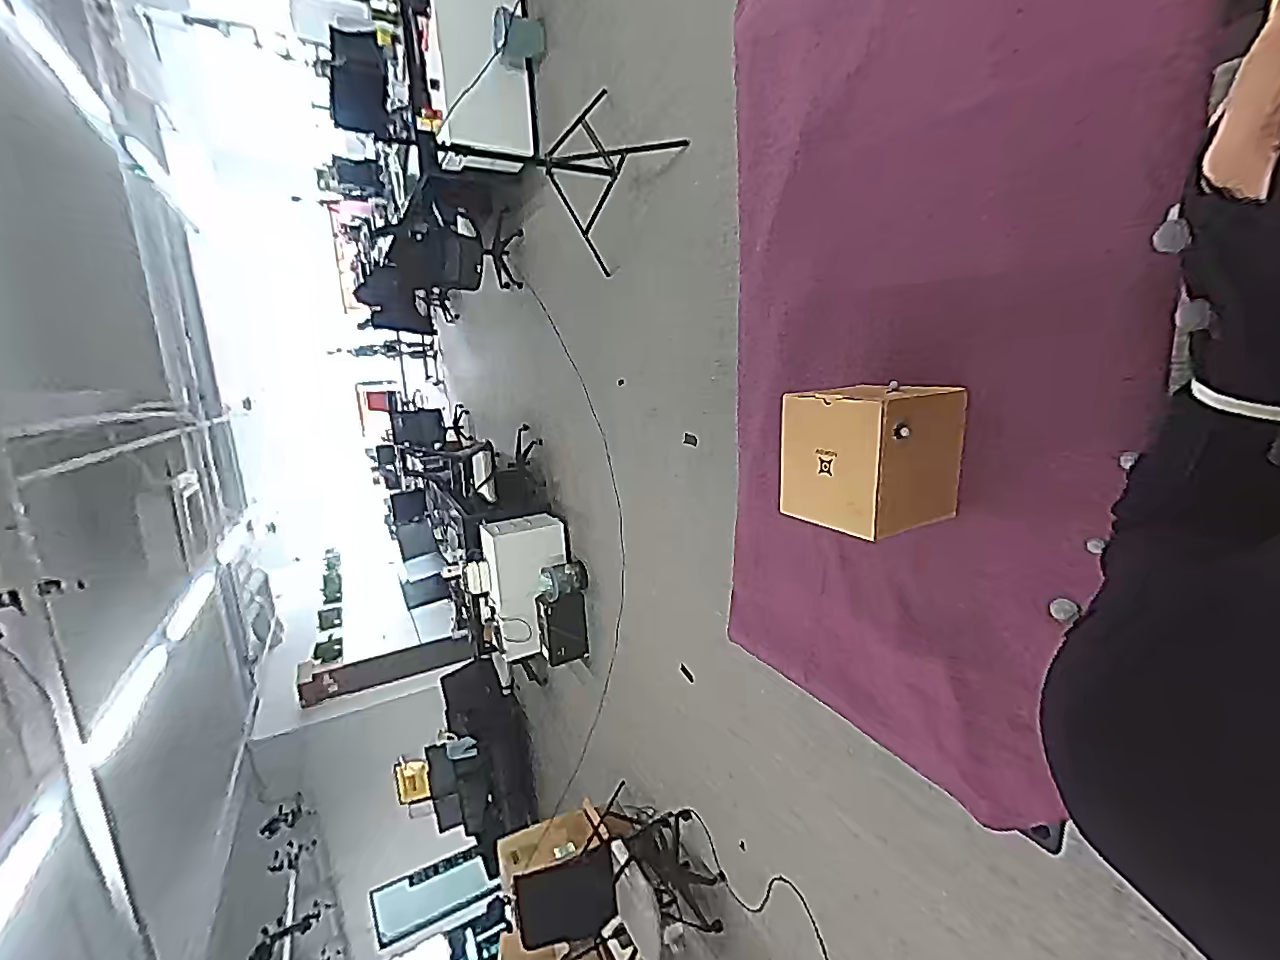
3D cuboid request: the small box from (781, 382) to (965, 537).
[{"bbox_3d":[0.315,-0.039,0.742,0.168,0.176,0.179,20,115,60],"label":"small box"}]
